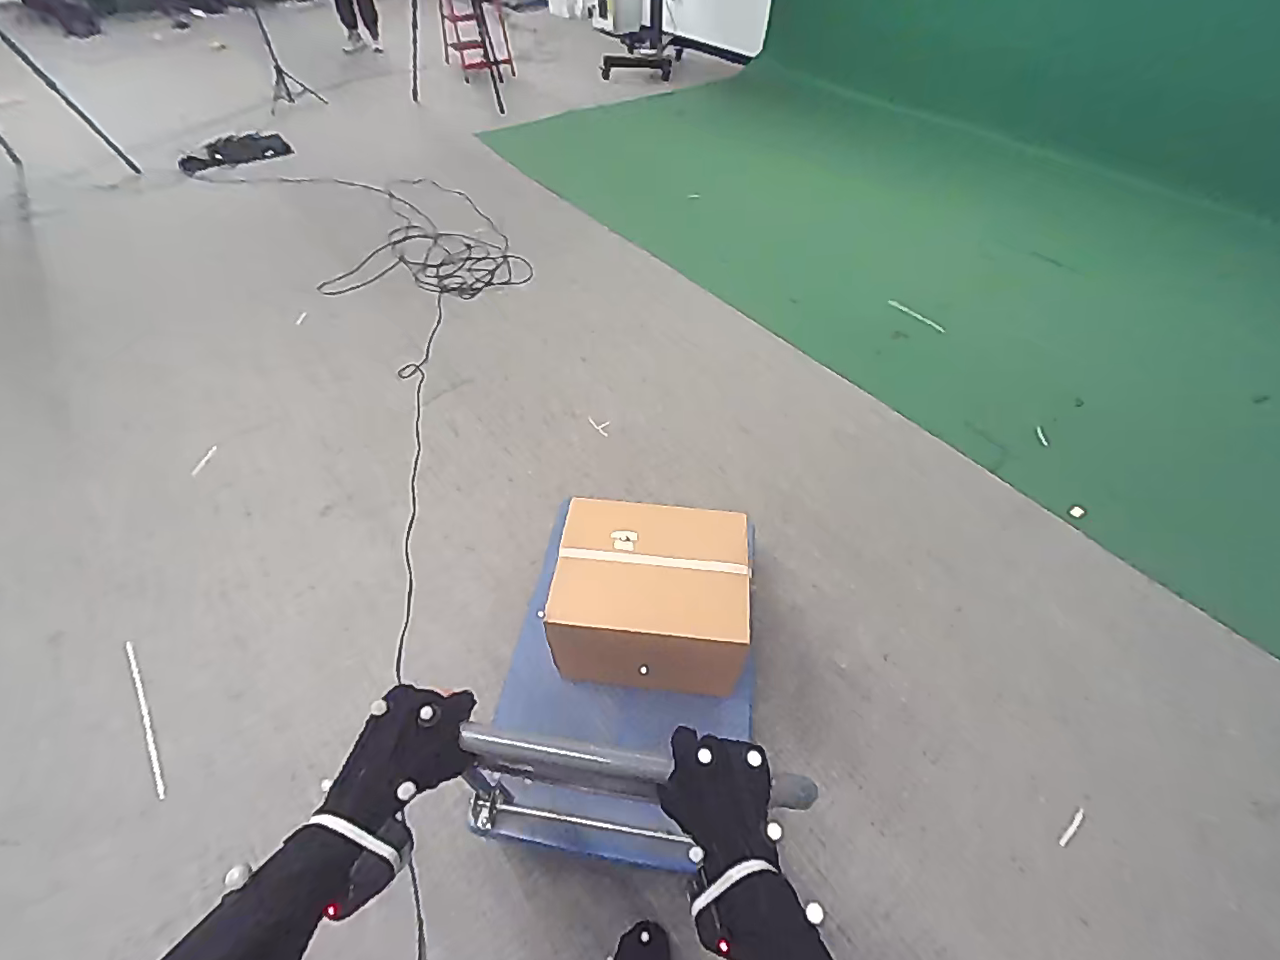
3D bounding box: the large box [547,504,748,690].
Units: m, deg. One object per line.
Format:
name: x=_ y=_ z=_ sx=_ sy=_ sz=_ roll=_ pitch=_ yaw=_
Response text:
large box: x=0.027 y=0.278 z=1.268 sx=0.408 sy=0.320 sz=0.320 roll=4 pitch=50 yaw=4
